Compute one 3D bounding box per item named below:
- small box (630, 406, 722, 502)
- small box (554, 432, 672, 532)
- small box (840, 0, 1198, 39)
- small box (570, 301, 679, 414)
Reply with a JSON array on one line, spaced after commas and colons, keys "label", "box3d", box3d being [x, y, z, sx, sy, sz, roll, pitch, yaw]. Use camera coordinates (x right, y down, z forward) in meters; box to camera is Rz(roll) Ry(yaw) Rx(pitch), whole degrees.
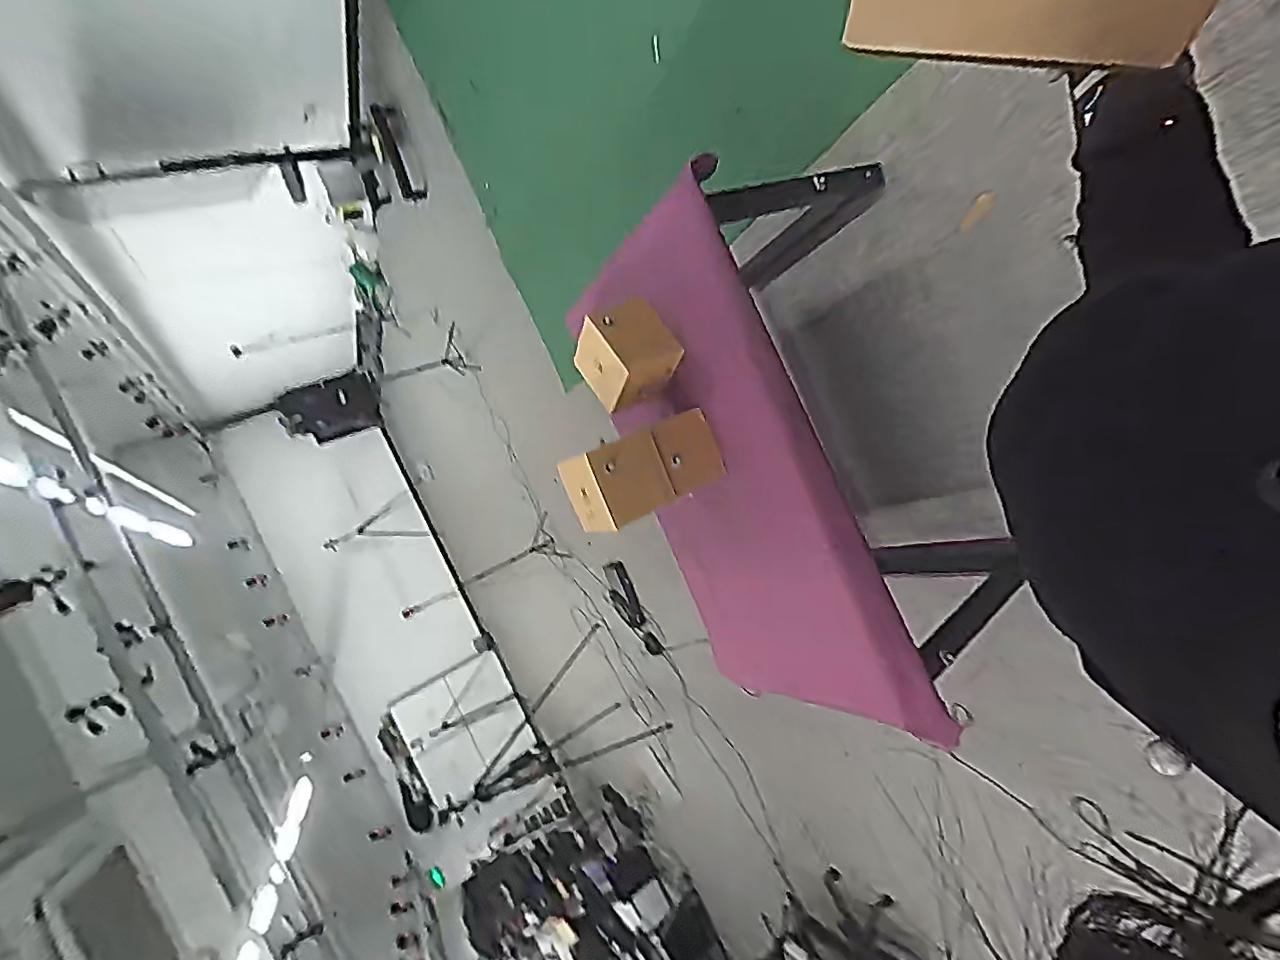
[{"label": "small box", "box3d": [0.067, -0.055, 1.291, 0.168, 0.176, 0.179, -13, 101, 59]}, {"label": "small box", "box3d": [-0.059, 0.002, 1.202, 0.168, 0.176, 0.179, -12, 103, 59]}, {"label": "small box", "box3d": [0.216, -0.358, 0.267, 0.179, 0.168, 0.176, 12, 151, 11]}, {"label": "small box", "box3d": [-0.037, -0.291, 1.269, 0.179, 0.176, 0.168, 55, 150, 15]}]
